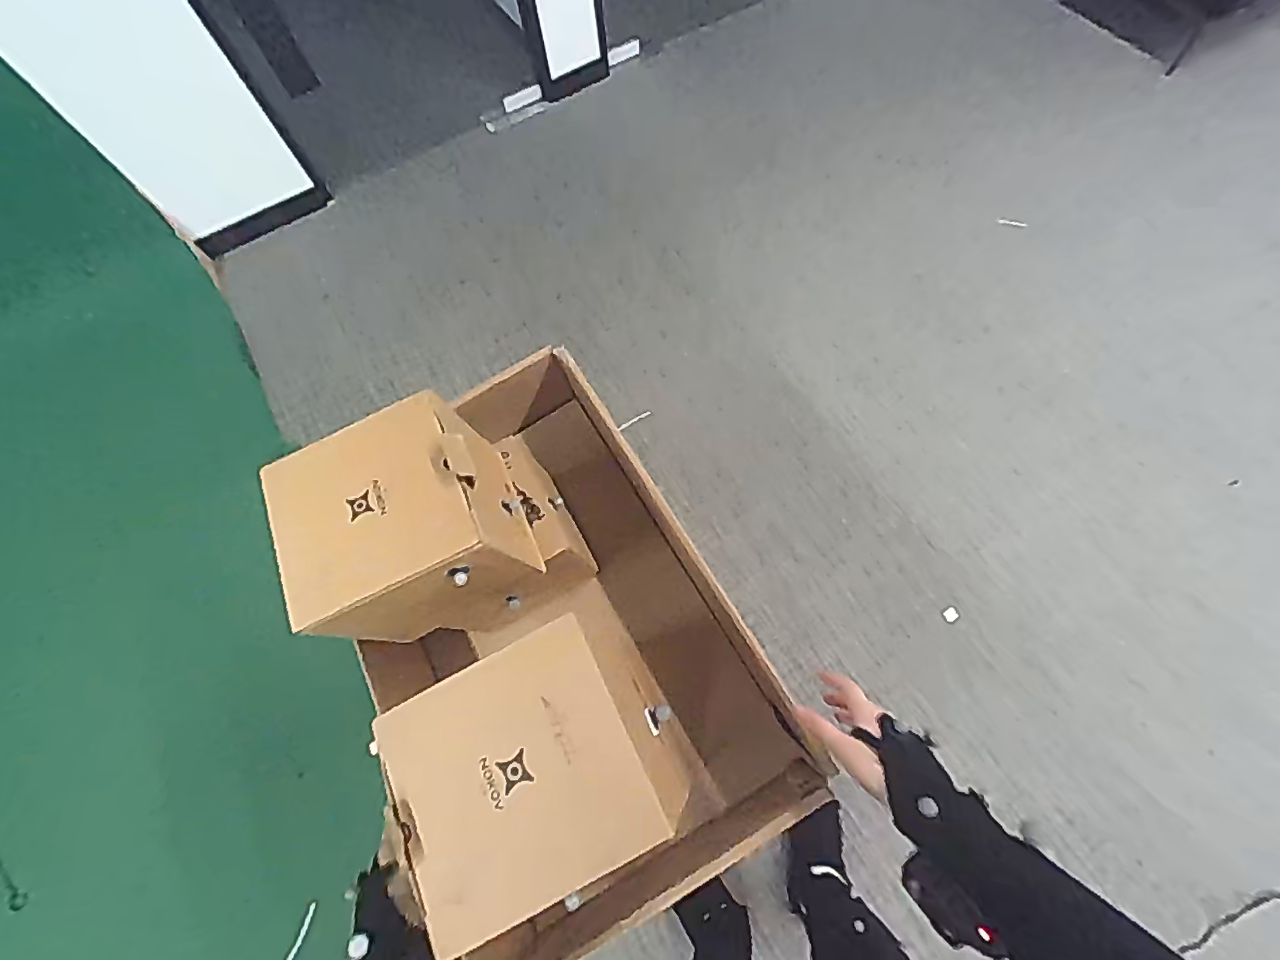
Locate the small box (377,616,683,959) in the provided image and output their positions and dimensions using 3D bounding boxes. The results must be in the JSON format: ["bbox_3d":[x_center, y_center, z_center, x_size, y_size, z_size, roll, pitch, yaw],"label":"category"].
[{"bbox_3d":[-0.078,0.237,0.458,0.179,0.176,0.168,-29,69,-2],"label":"small box"}]

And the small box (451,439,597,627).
[{"bbox_3d":[-0.179,0.080,0.706,0.179,0.176,0.168,-30,71,-2],"label":"small box"}]

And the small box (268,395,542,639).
[{"bbox_3d":[-0.226,0.050,0.550,0.179,0.176,0.168,-26,69,-1],"label":"small box"}]
